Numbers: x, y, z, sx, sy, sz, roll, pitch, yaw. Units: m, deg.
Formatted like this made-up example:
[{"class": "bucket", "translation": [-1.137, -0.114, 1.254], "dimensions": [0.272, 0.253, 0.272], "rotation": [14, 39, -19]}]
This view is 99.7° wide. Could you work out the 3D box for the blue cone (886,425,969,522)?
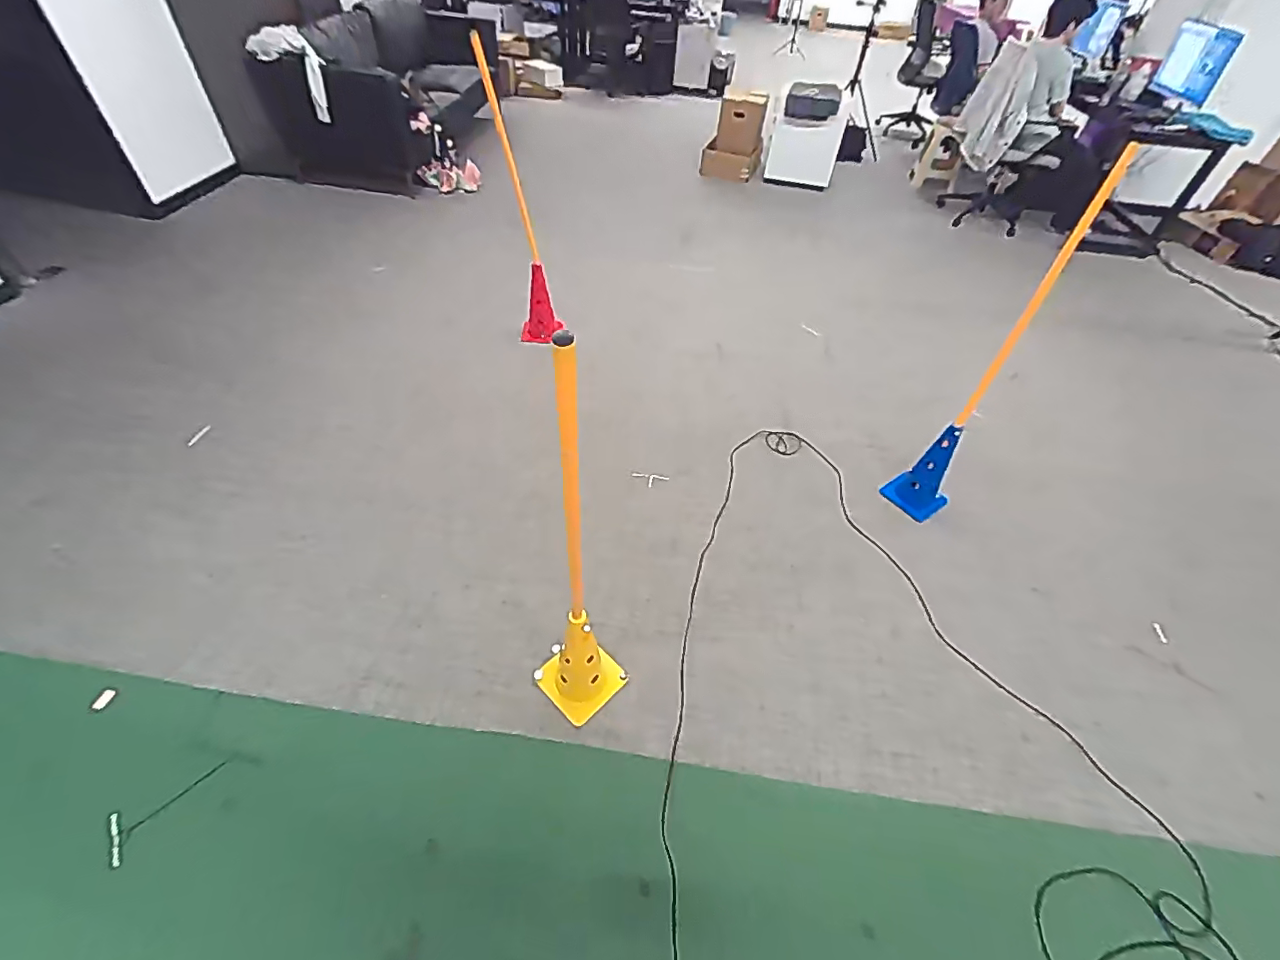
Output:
[{"class": "blue cone", "translation": [1.072, -0.049, 1.959], "dimensions": [0.193, 0.380, 0.192], "rotation": [-26, 54, -29]}]
